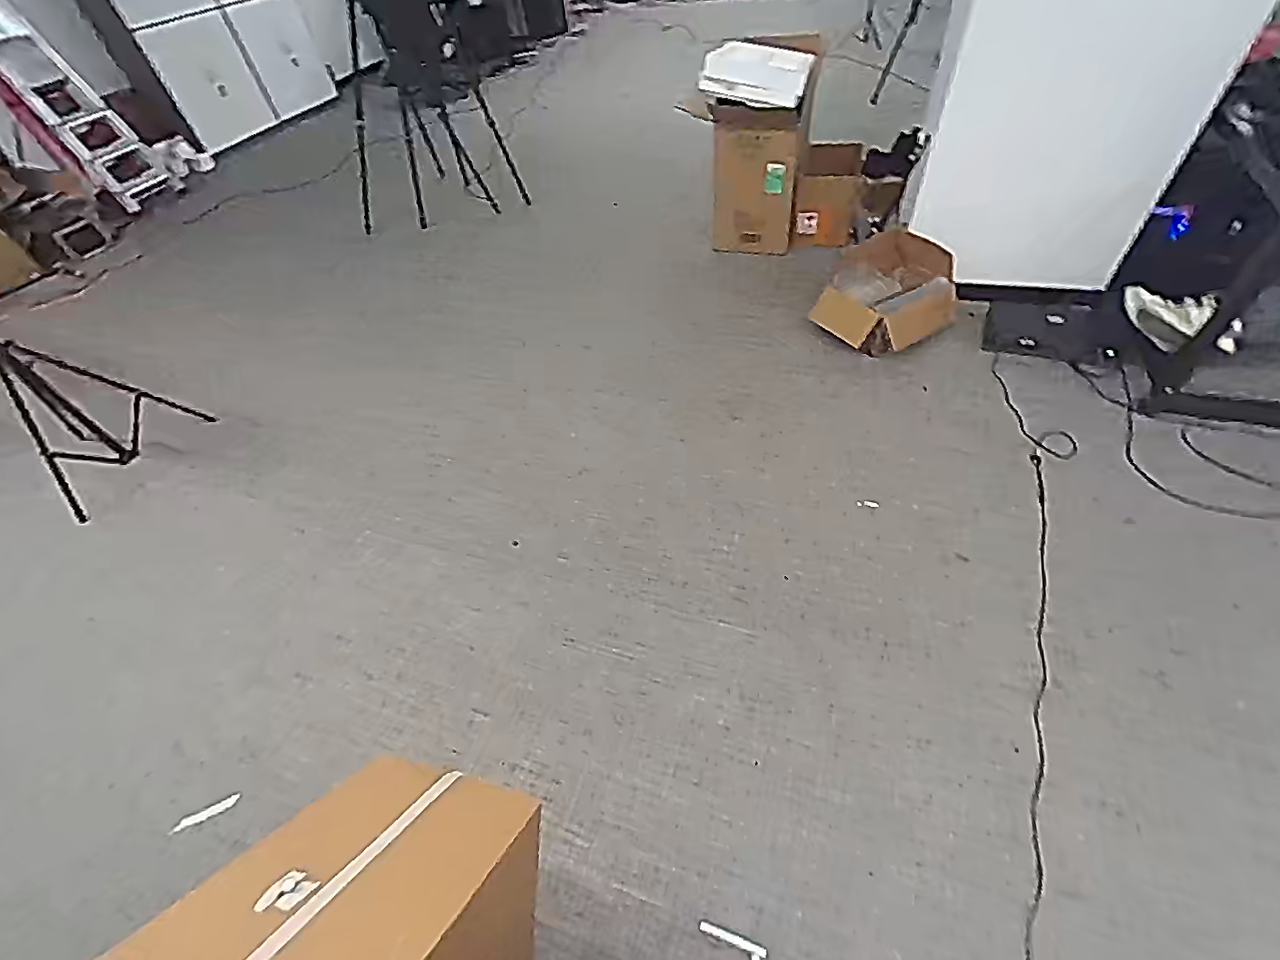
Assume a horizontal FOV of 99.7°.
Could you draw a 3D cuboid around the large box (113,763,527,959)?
[{"bbox_3d":[-0.385,0.667,0.719,0.320,0.320,0.408,5,6,17],"label":"large box"}]
